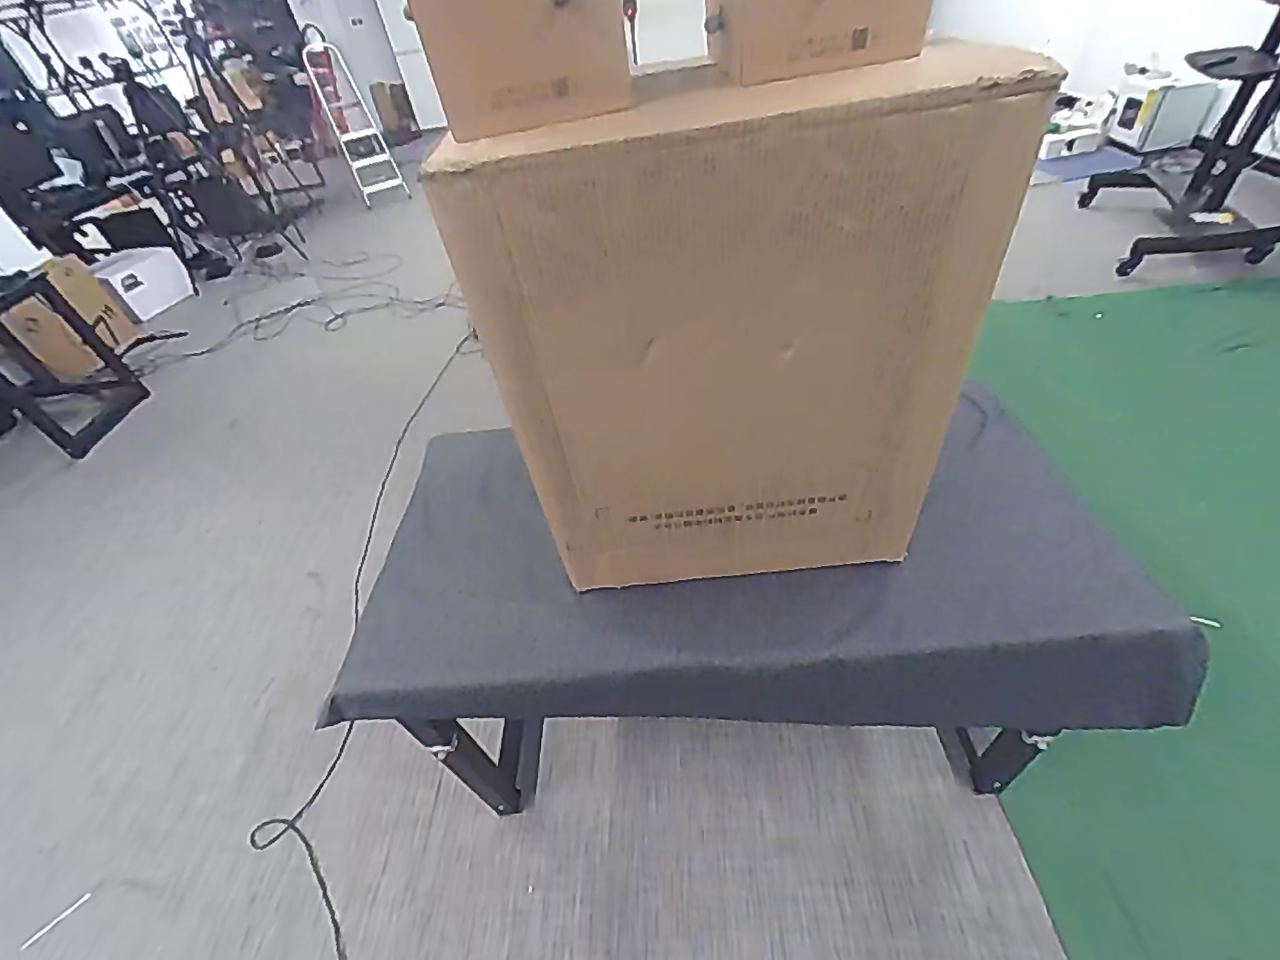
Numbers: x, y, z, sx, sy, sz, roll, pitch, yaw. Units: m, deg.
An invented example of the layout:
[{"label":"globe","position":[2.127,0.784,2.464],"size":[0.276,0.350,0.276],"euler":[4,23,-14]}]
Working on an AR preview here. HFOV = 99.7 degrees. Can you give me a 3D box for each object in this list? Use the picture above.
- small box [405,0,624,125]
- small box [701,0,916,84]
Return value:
[{"label":"small box","position":[-0.117,-0.440,0.481],"size":[0.168,0.176,0.179],"euler":[-14,47,-2]},{"label":"small box","position":[0.147,-0.483,0.490],"size":[0.168,0.176,0.179],"euler":[-9,47,2]}]
